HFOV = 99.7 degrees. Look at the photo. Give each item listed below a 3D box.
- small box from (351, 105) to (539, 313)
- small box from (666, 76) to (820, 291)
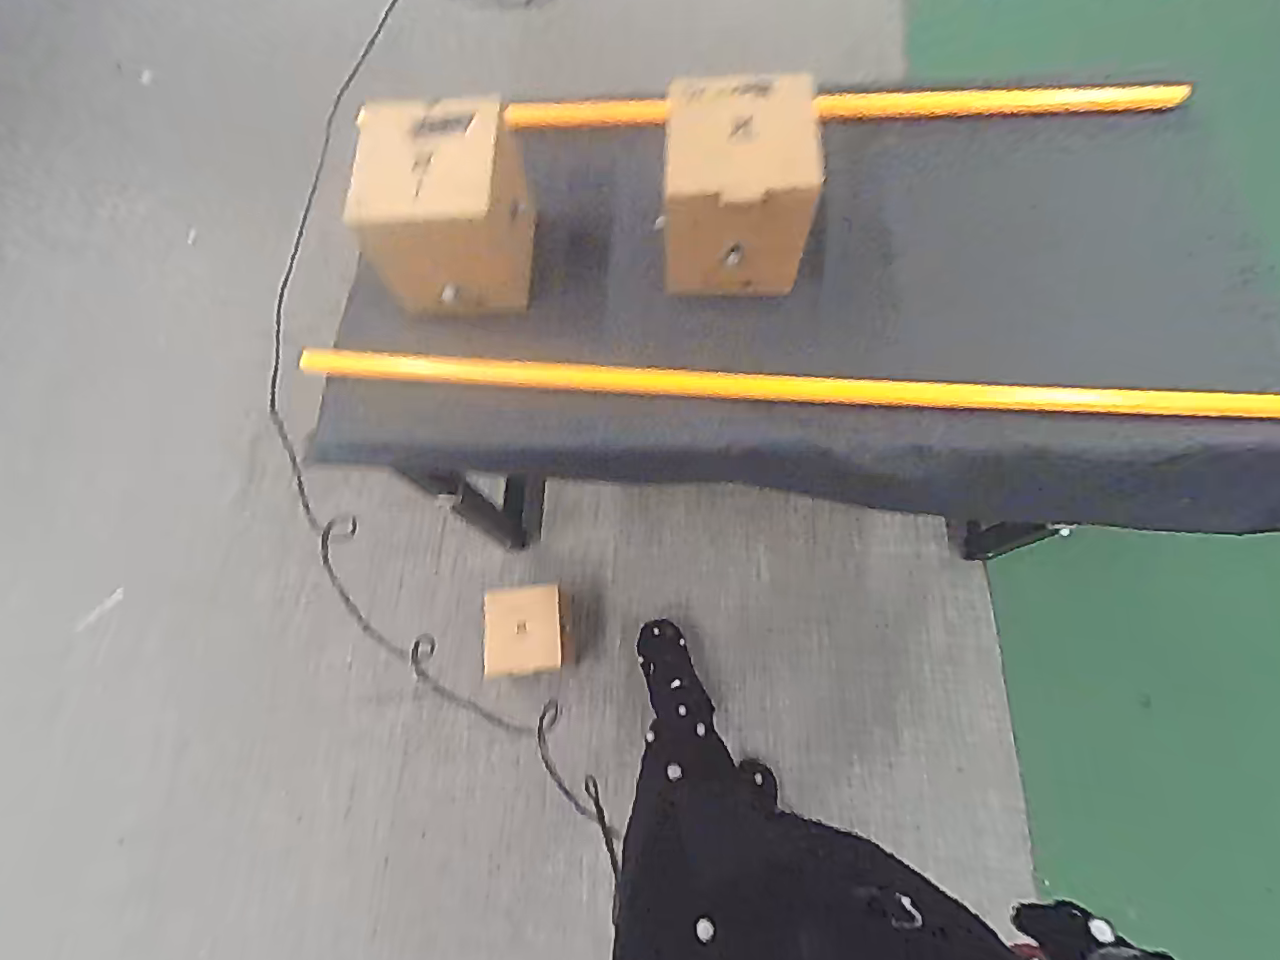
[{"bbox_3d":[-0.233,-0.339,0.696,0.168,0.176,0.179,-1,71,4],"label":"small box"},{"bbox_3d":[0.119,-0.355,0.678,0.168,0.176,0.179,-2,70,5],"label":"small box"}]
